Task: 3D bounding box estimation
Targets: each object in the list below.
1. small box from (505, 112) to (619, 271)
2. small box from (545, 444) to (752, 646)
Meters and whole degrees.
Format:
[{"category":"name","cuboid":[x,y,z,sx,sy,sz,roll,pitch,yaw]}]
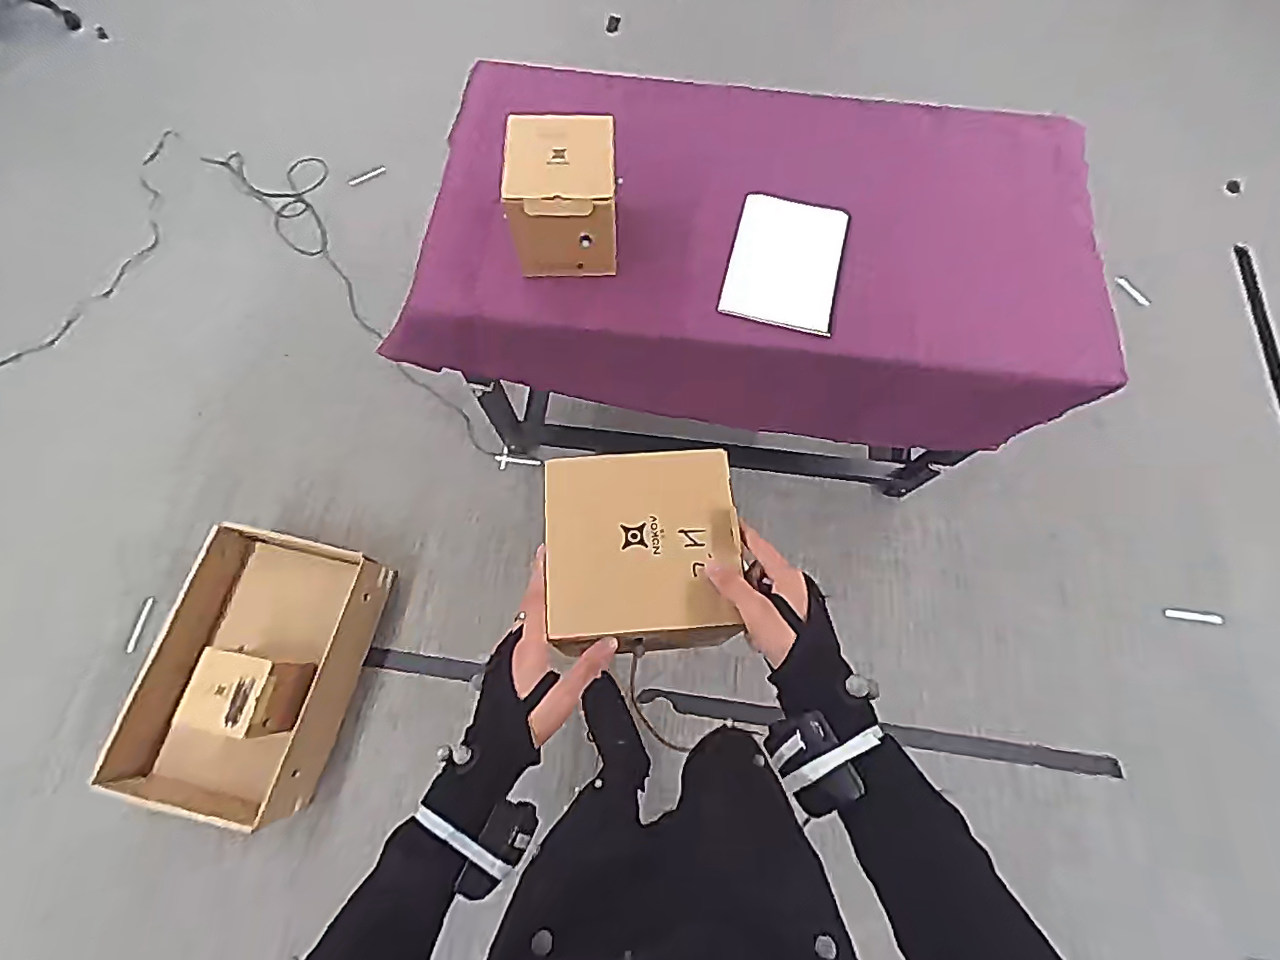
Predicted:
[{"category":"small box","cuboid":[-0.119,-0.470,0.898,0.168,0.176,0.179,0,71,-2]},{"category":"small box","cuboid":[0.003,0.074,0.553,0.179,0.176,0.168,-2,68,-3]}]
